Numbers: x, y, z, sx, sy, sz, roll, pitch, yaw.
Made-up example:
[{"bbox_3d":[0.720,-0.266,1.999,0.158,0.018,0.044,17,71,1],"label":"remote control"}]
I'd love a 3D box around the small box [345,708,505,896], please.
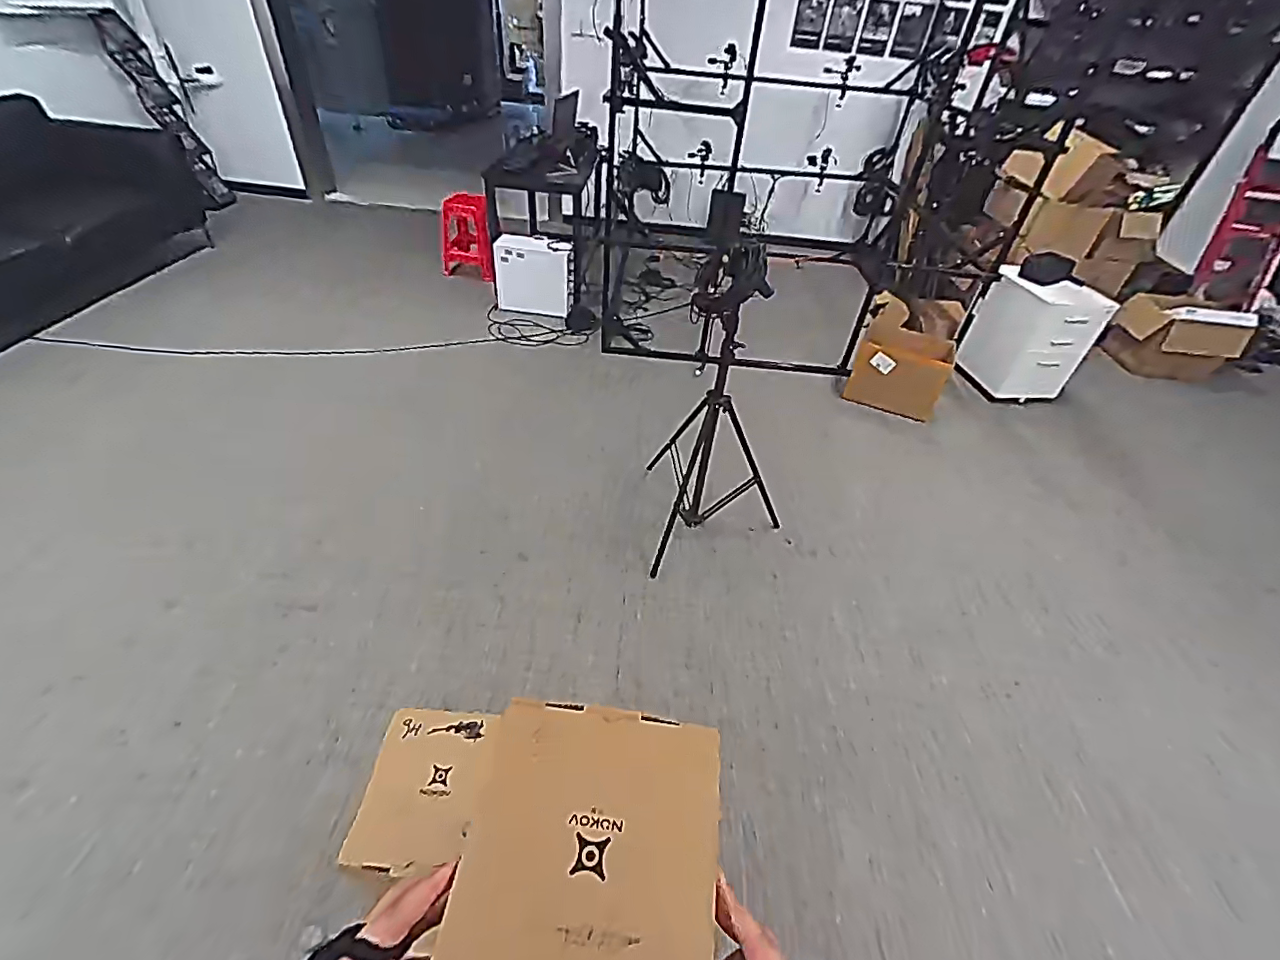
[{"bbox_3d":[-0.239,0.421,0.700,0.168,0.176,0.179,4,43,0],"label":"small box"}]

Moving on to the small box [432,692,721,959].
[{"bbox_3d":[-0.035,0.290,0.416,0.168,0.176,0.179,7,49,3],"label":"small box"}]
